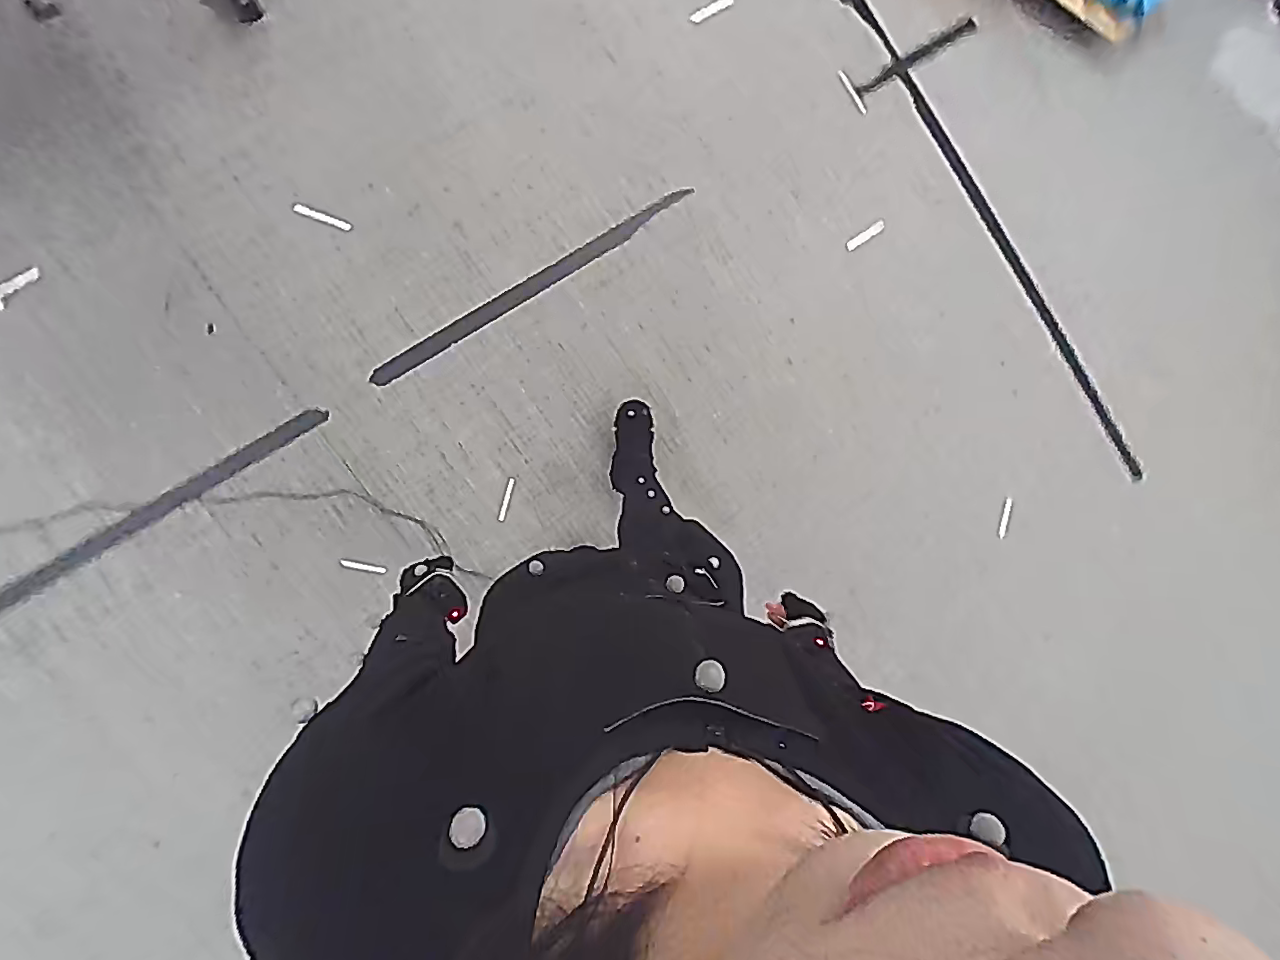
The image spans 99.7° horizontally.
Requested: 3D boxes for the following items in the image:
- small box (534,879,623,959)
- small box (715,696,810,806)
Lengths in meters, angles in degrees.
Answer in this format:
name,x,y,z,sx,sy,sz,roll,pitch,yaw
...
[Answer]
name,x,y,z,sx,sy,sz,roll,pitch,yaw
small box,-0.166,1.184,1.387,0.168,0.176,0.179,31,85,-8
small box,0.325,0.738,1.492,0.179,0.176,0.168,-36,95,-9
